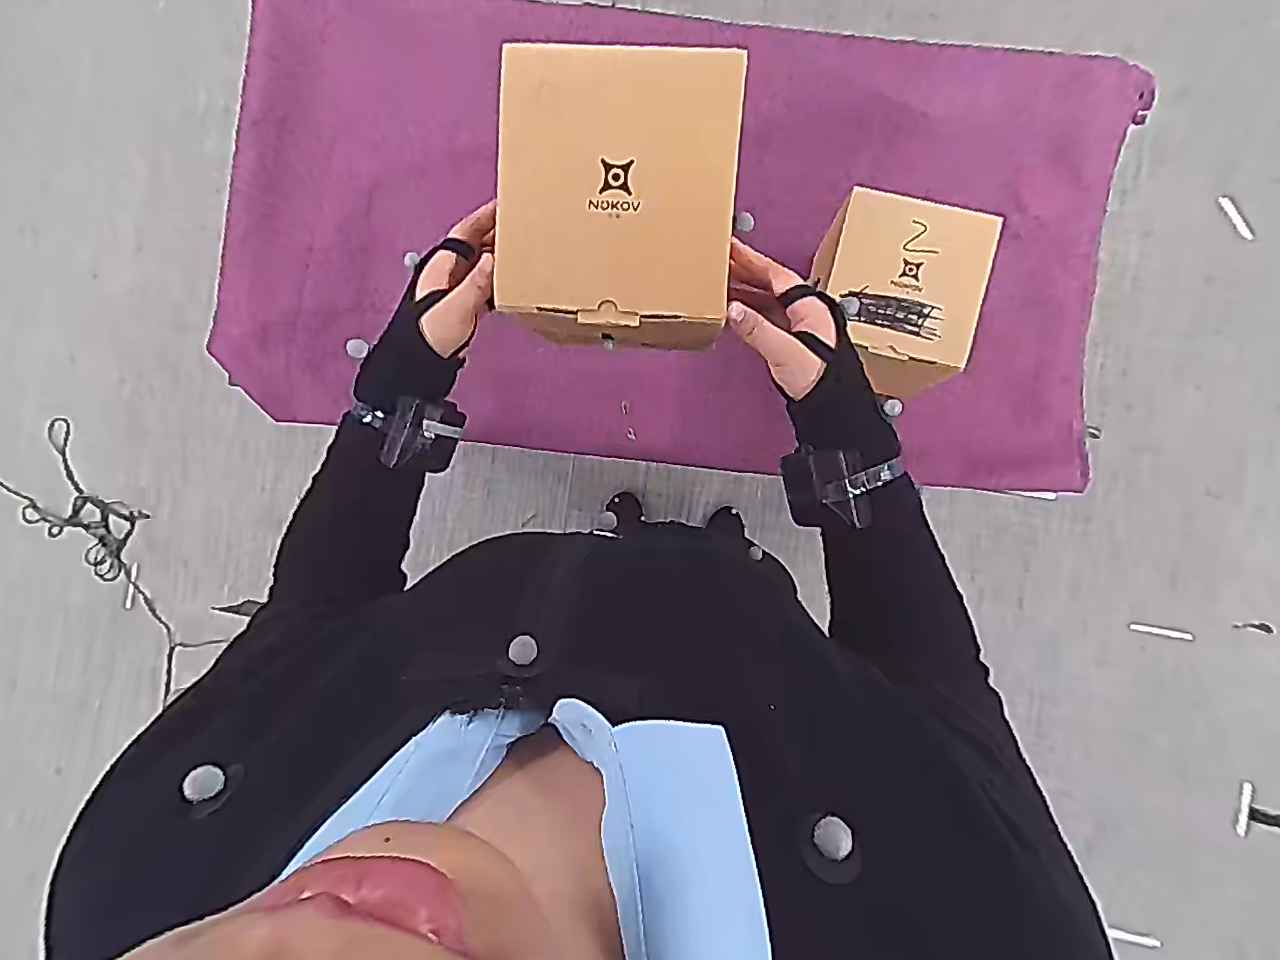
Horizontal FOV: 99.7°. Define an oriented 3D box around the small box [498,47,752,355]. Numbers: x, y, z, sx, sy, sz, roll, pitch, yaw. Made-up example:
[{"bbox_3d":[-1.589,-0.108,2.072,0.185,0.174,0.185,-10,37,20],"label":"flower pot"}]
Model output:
[{"bbox_3d":[-0.009,-0.206,0.446,0.168,0.176,0.179,4,97,4],"label":"small box"}]
